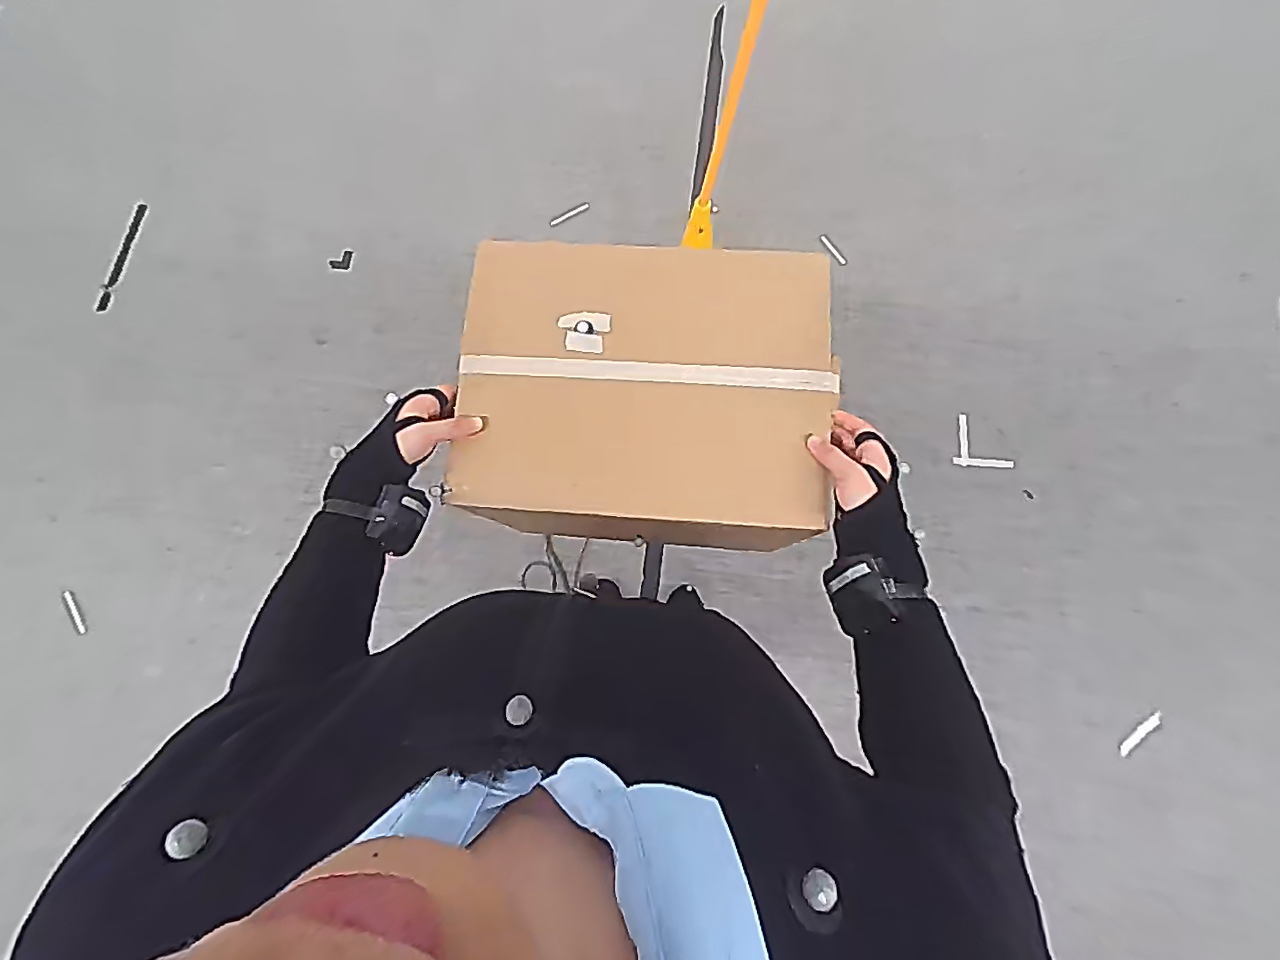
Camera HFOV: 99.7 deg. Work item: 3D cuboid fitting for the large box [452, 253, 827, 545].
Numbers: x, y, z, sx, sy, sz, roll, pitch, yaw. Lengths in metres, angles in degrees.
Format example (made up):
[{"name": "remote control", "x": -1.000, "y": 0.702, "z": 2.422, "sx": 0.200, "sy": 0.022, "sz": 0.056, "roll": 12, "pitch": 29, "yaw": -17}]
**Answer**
[{"name": "large box", "x": 0.013, "y": -0.083, "z": 0.743, "sx": 0.408, "sy": 0.320, "sz": 0.320, "roll": 3, "pitch": 77, "yaw": 5}]
